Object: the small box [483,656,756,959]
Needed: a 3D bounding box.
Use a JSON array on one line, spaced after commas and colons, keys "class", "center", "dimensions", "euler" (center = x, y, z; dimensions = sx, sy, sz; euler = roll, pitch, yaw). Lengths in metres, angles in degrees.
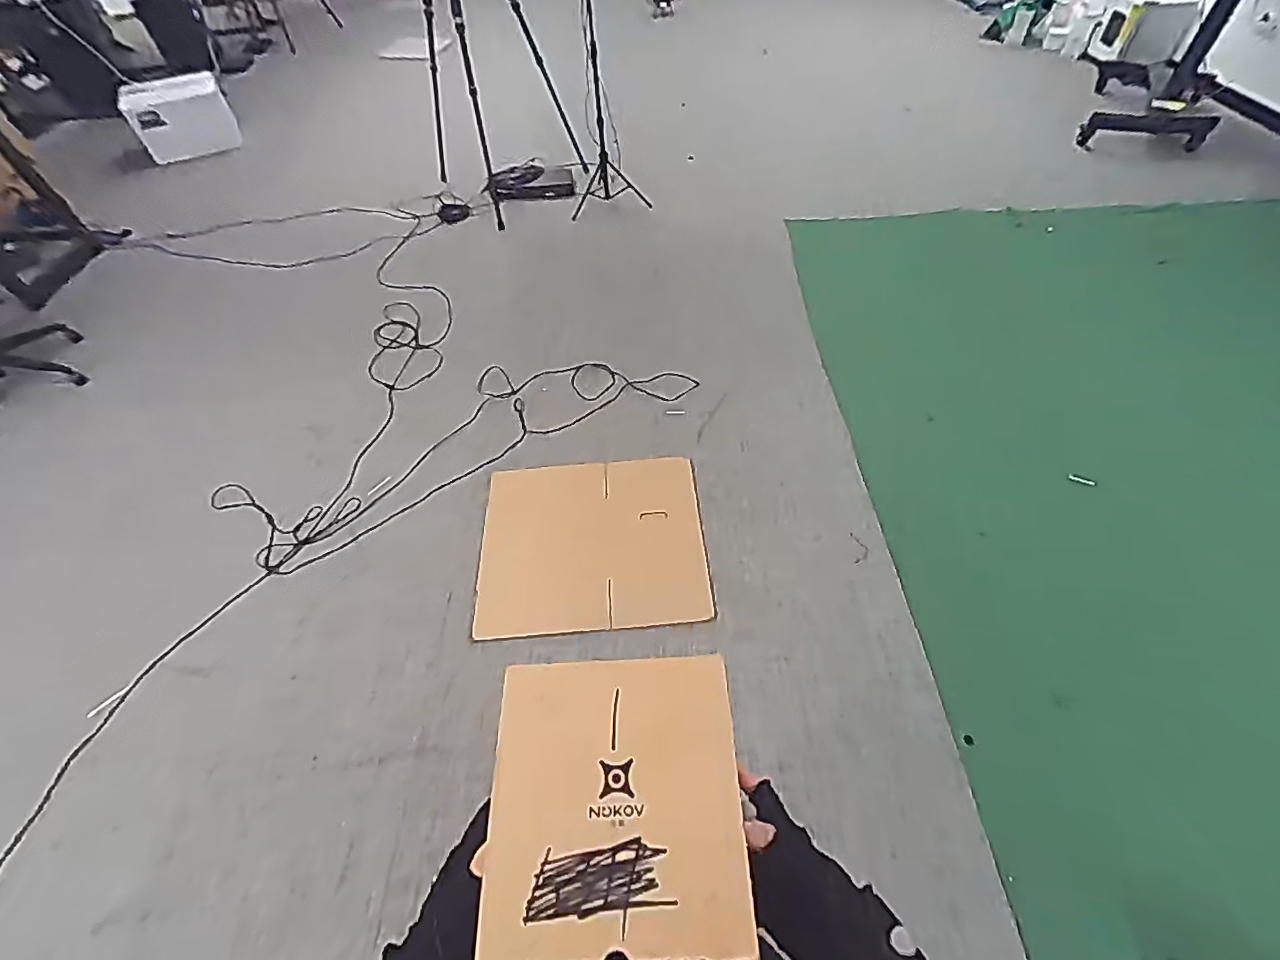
[{"class": "small box", "center": [-0.011, 0.251, 0.426], "dimensions": [0.168, 0.176, 0.179], "euler": [-3, 56, 1]}]
